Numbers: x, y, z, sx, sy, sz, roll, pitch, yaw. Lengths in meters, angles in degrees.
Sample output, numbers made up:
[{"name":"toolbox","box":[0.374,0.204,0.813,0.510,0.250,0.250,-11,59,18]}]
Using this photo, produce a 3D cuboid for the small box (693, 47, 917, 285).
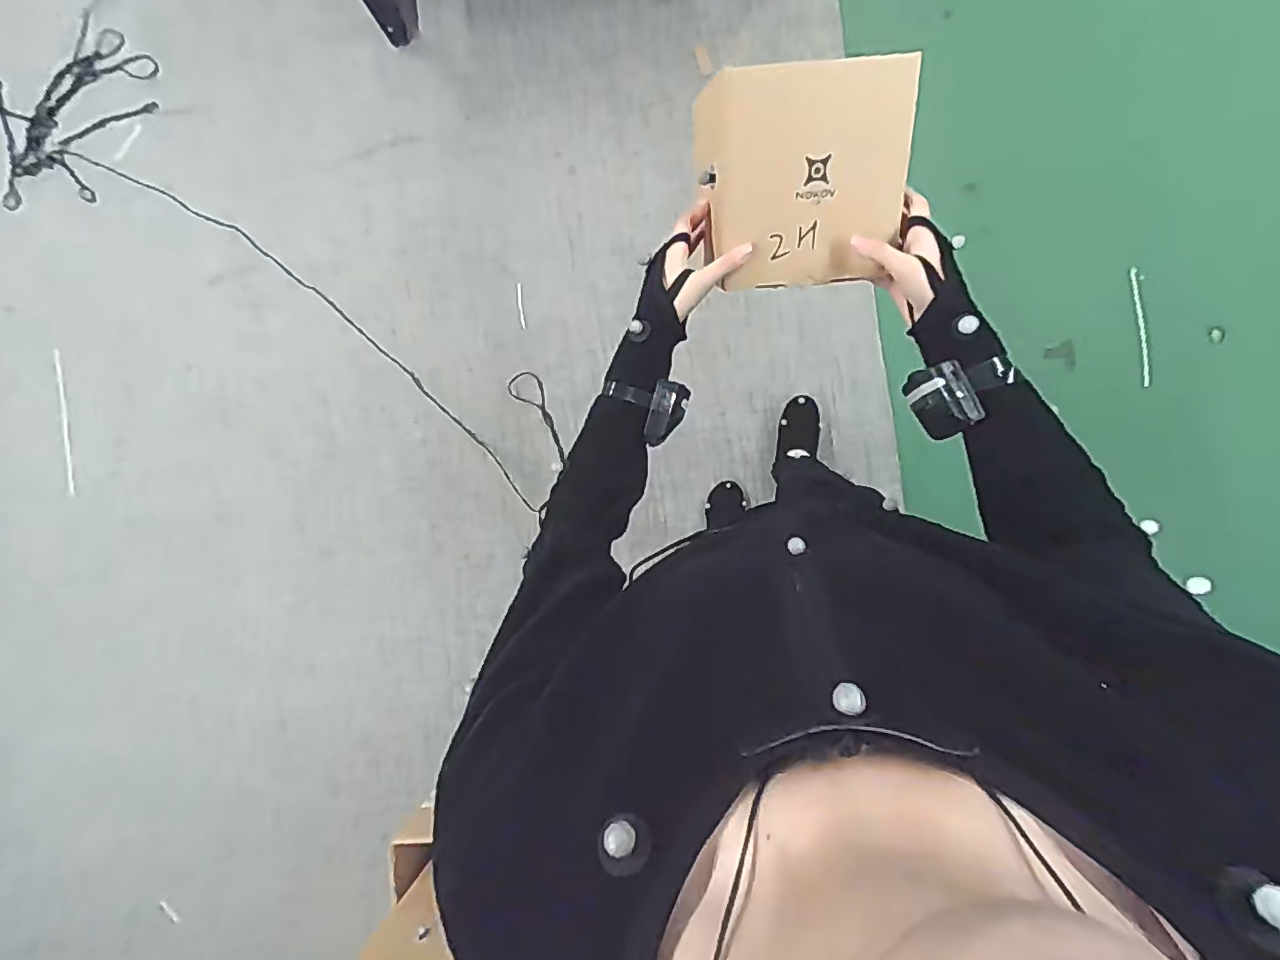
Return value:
[{"name":"small box","box":[0.146,-0.302,0.546,0.168,0.176,0.179,-5,117,0]}]
